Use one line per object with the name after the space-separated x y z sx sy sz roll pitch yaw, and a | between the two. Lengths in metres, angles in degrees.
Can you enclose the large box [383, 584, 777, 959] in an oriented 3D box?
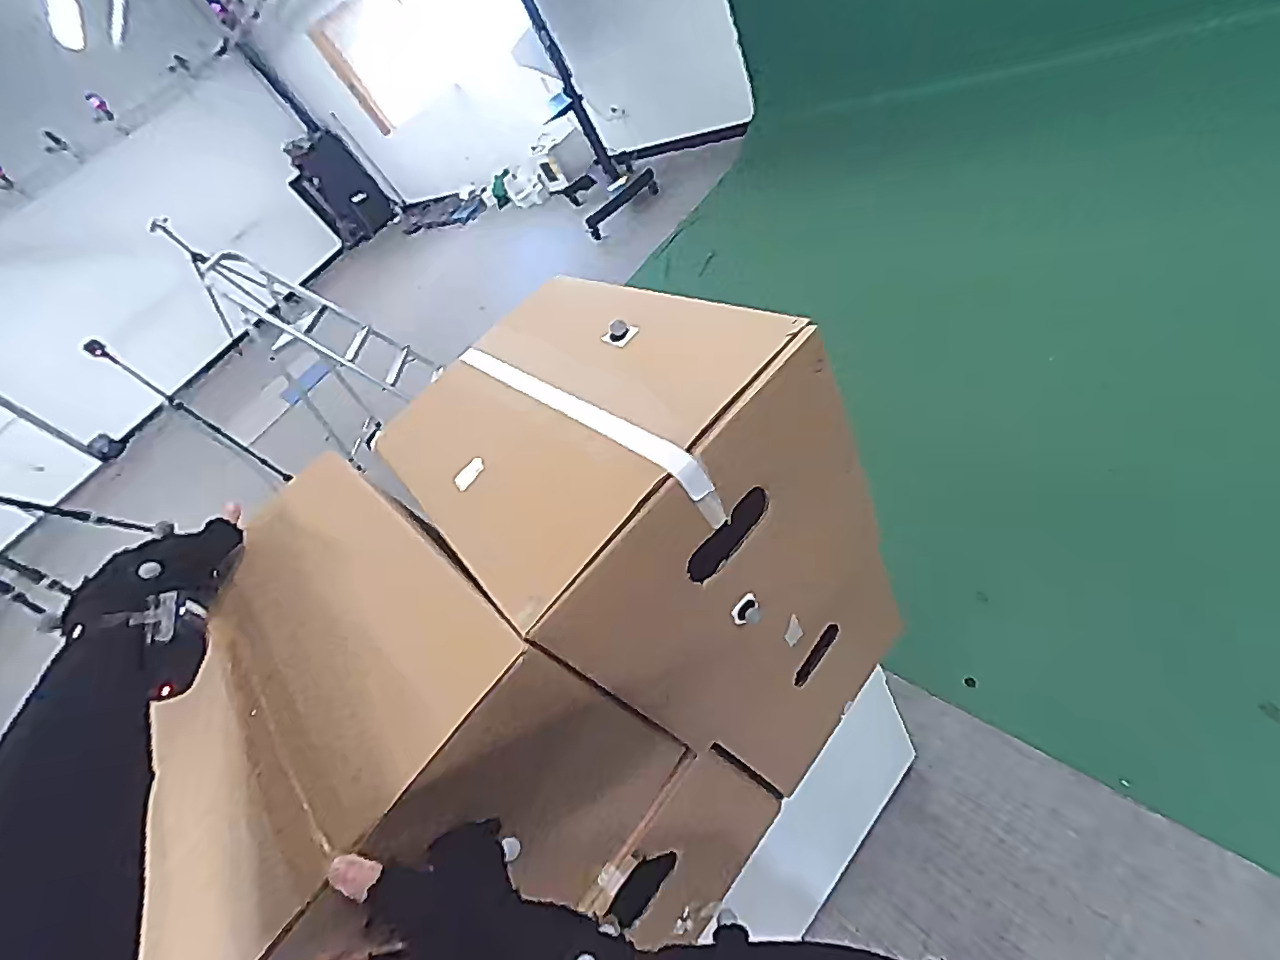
-0.085 0.420 0.775 0.408 0.320 0.320 24 67 46 | large box
